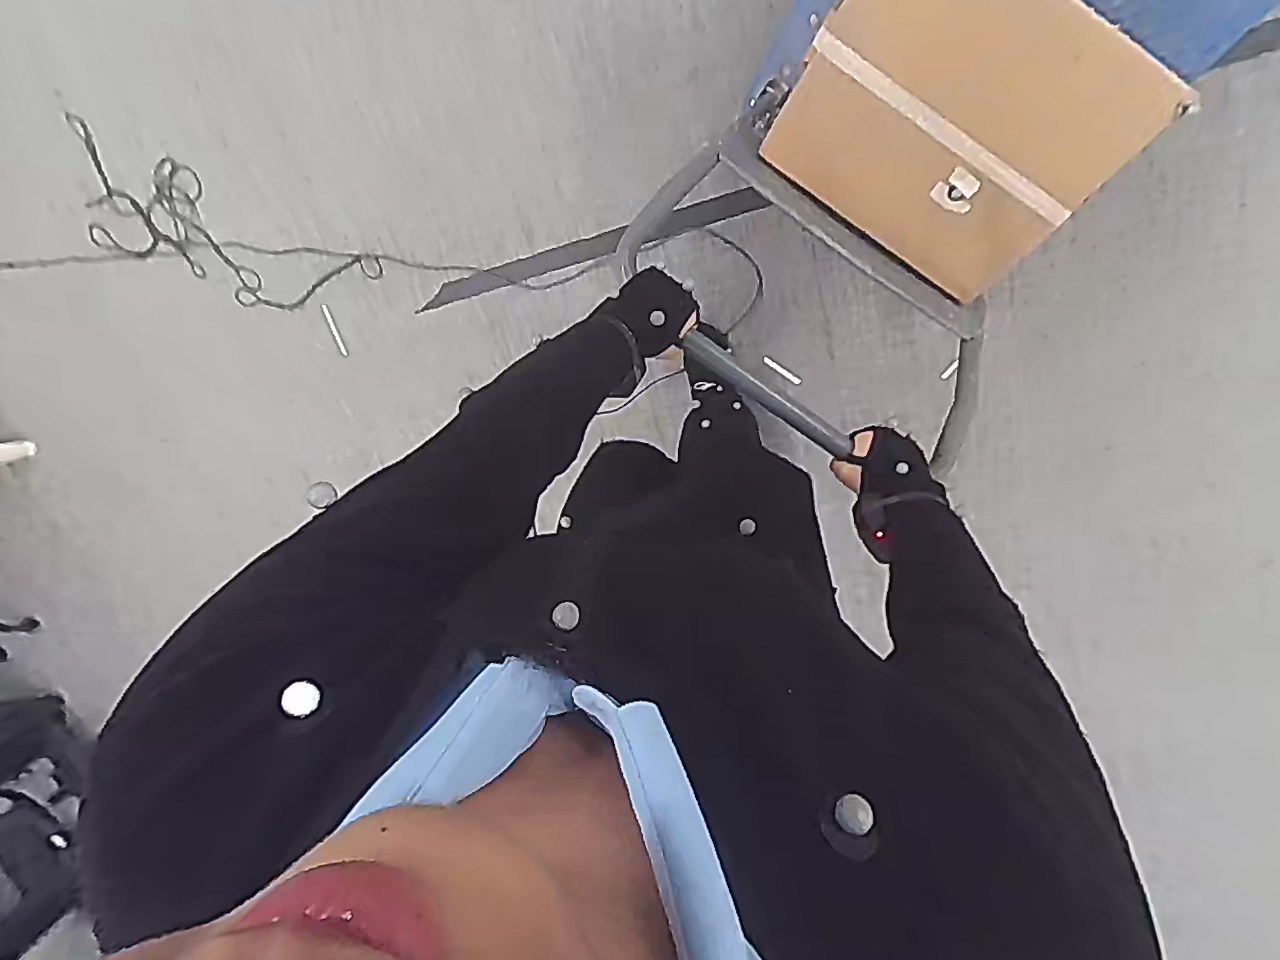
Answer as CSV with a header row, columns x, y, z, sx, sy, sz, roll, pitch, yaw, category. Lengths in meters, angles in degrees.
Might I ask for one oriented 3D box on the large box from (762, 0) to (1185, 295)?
x,y,z,sx,sy,sz,roll,pitch,yaw,category
0.464,-0.573,0.827,0.408,0.320,0.320,33,140,-4,large box
